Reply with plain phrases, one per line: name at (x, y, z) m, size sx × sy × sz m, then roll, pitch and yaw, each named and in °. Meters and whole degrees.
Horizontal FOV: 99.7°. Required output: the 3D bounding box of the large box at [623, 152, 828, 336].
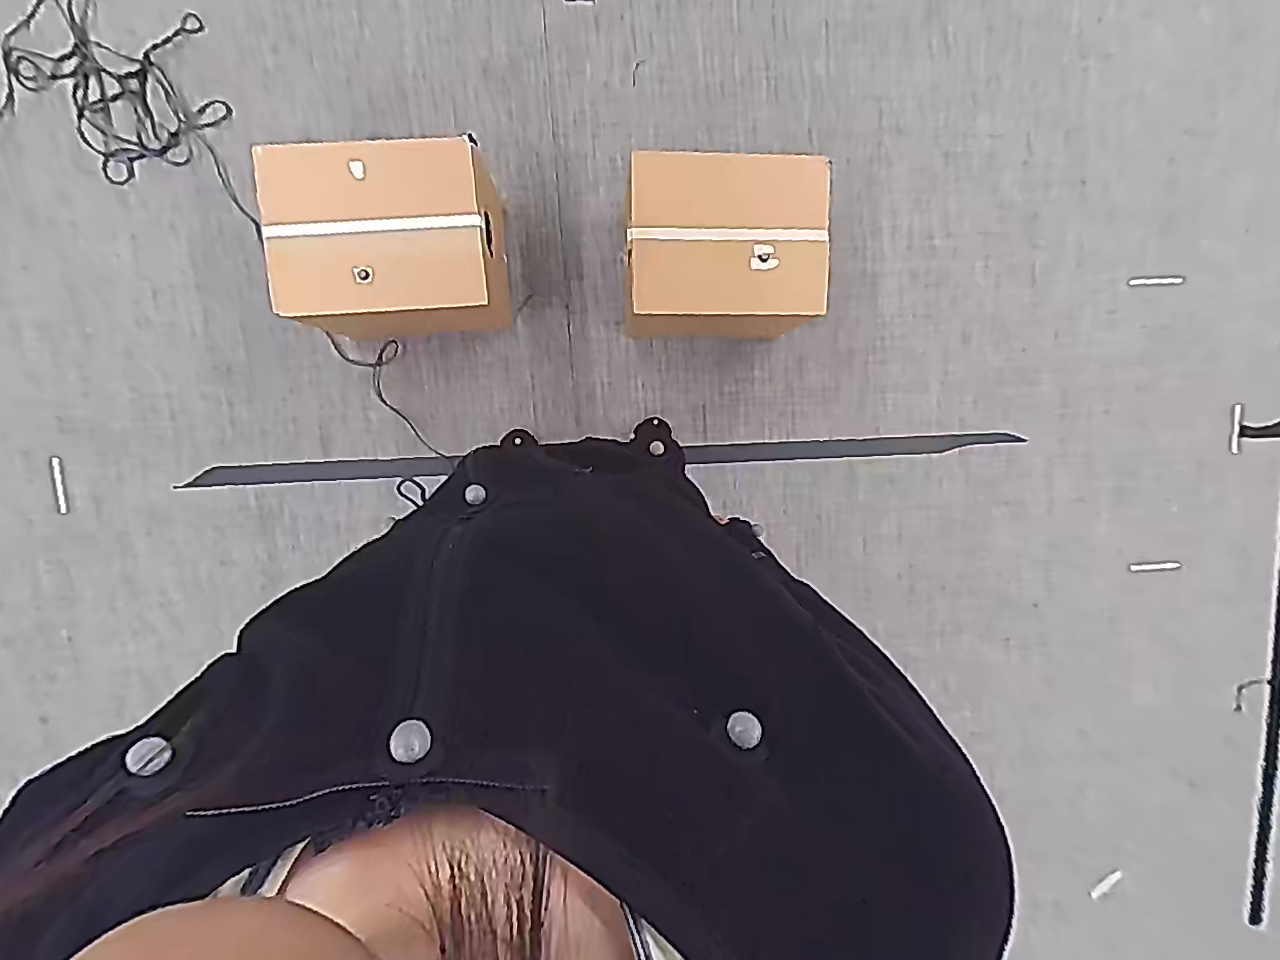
large box at (0.172, -0.513, 1.243) m, size 0.408 × 0.320 × 0.320 m, roll -1°, pitch 97°, yaw -5°
